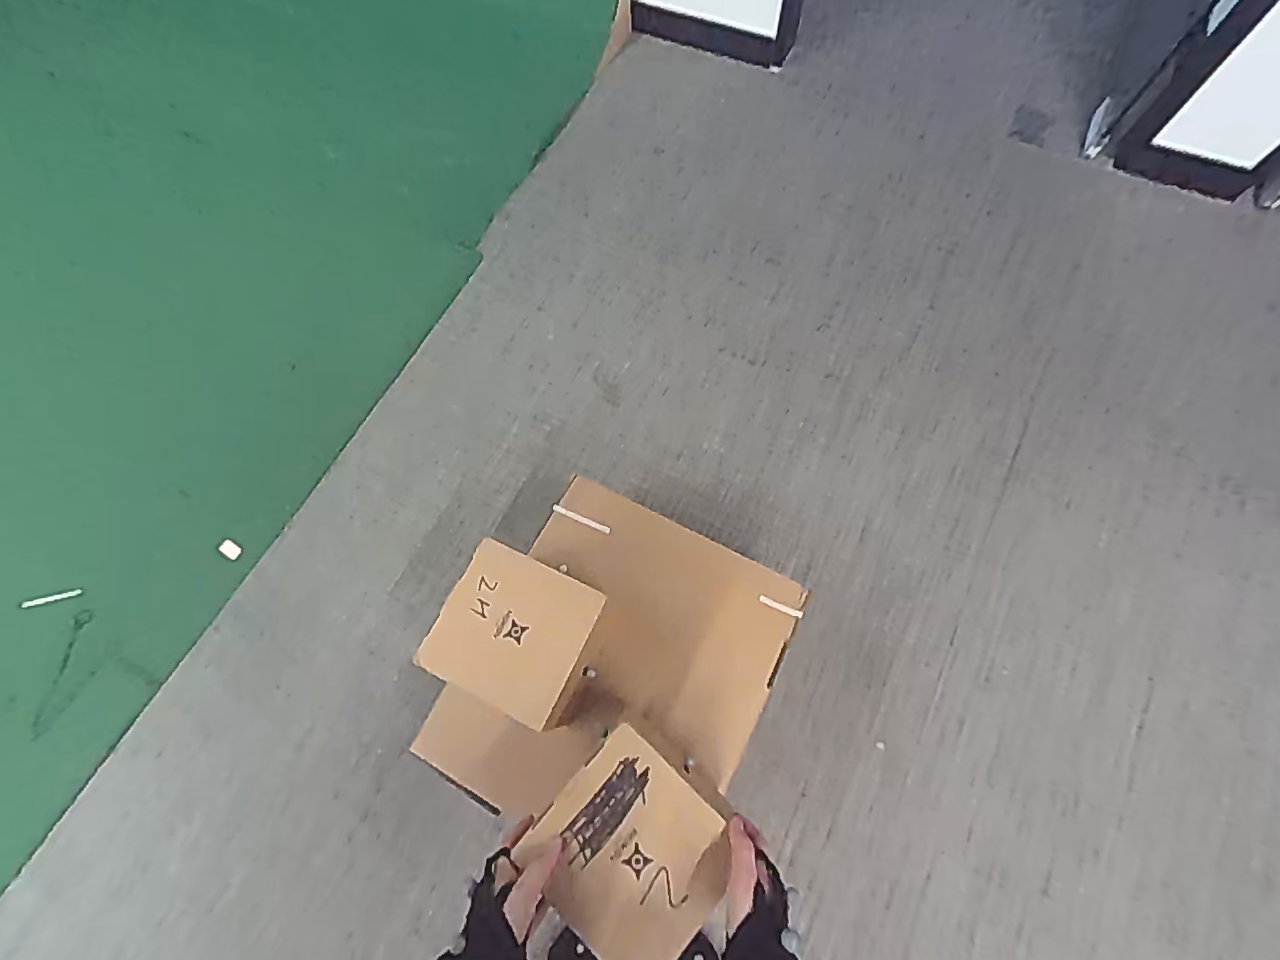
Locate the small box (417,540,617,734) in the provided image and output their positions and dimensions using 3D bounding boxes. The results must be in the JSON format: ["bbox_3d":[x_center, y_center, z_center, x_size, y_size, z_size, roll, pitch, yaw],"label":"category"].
[{"bbox_3d":[-0.142,0.203,0.704,0.179,0.176,0.168,24,71,12],"label":"small box"}]
